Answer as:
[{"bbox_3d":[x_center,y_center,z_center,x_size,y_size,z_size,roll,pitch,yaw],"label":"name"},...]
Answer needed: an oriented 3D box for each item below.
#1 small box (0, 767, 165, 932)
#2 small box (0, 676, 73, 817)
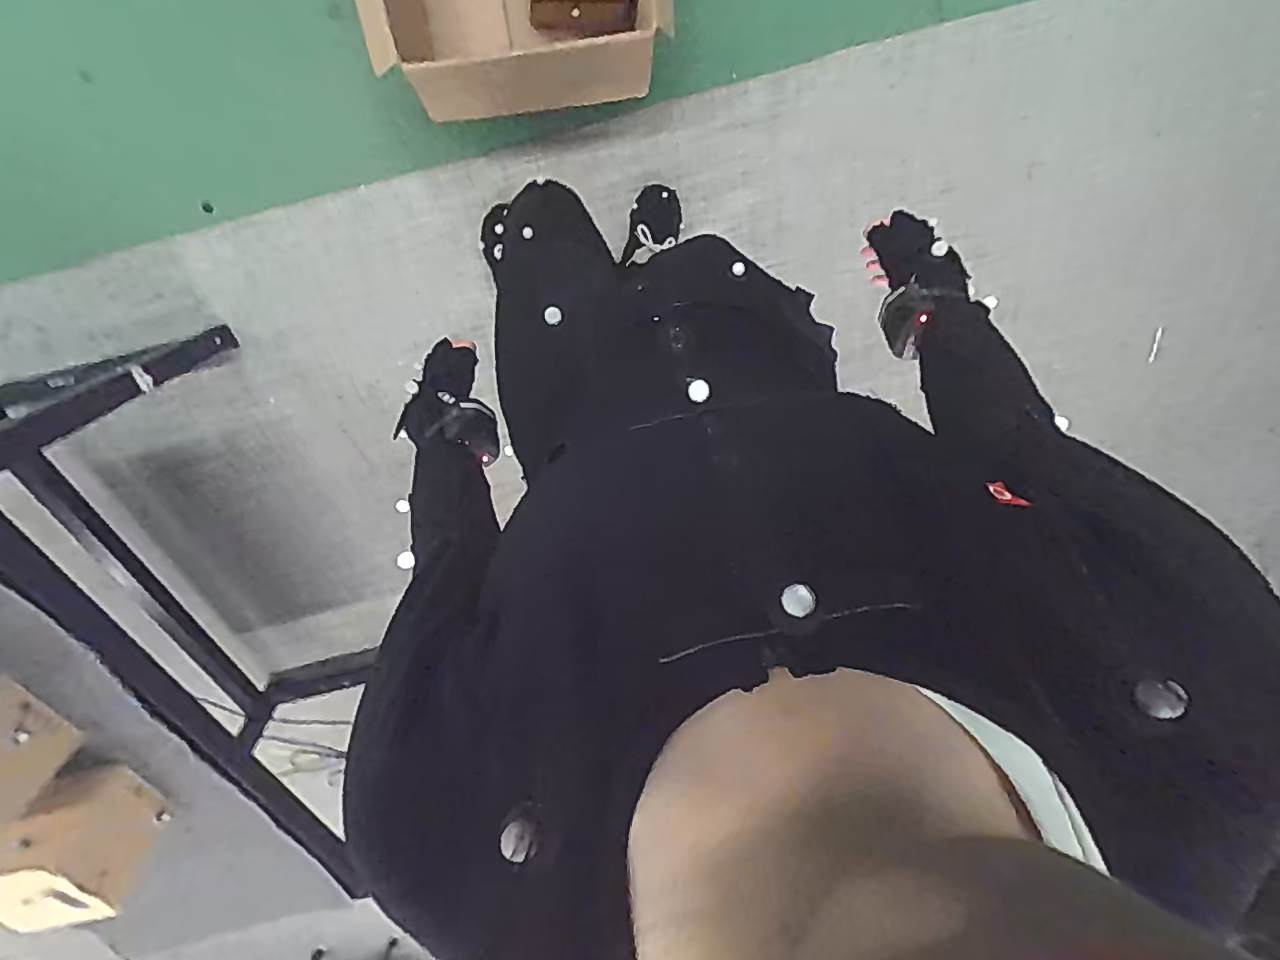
[{"bbox_3d":[-0.966,0.616,0.914,0.179,0.176,0.168,-12,121,2],"label":"small box"},{"bbox_3d":[-1.020,0.416,0.788,0.179,0.176,0.168,-14,121,2],"label":"small box"}]
